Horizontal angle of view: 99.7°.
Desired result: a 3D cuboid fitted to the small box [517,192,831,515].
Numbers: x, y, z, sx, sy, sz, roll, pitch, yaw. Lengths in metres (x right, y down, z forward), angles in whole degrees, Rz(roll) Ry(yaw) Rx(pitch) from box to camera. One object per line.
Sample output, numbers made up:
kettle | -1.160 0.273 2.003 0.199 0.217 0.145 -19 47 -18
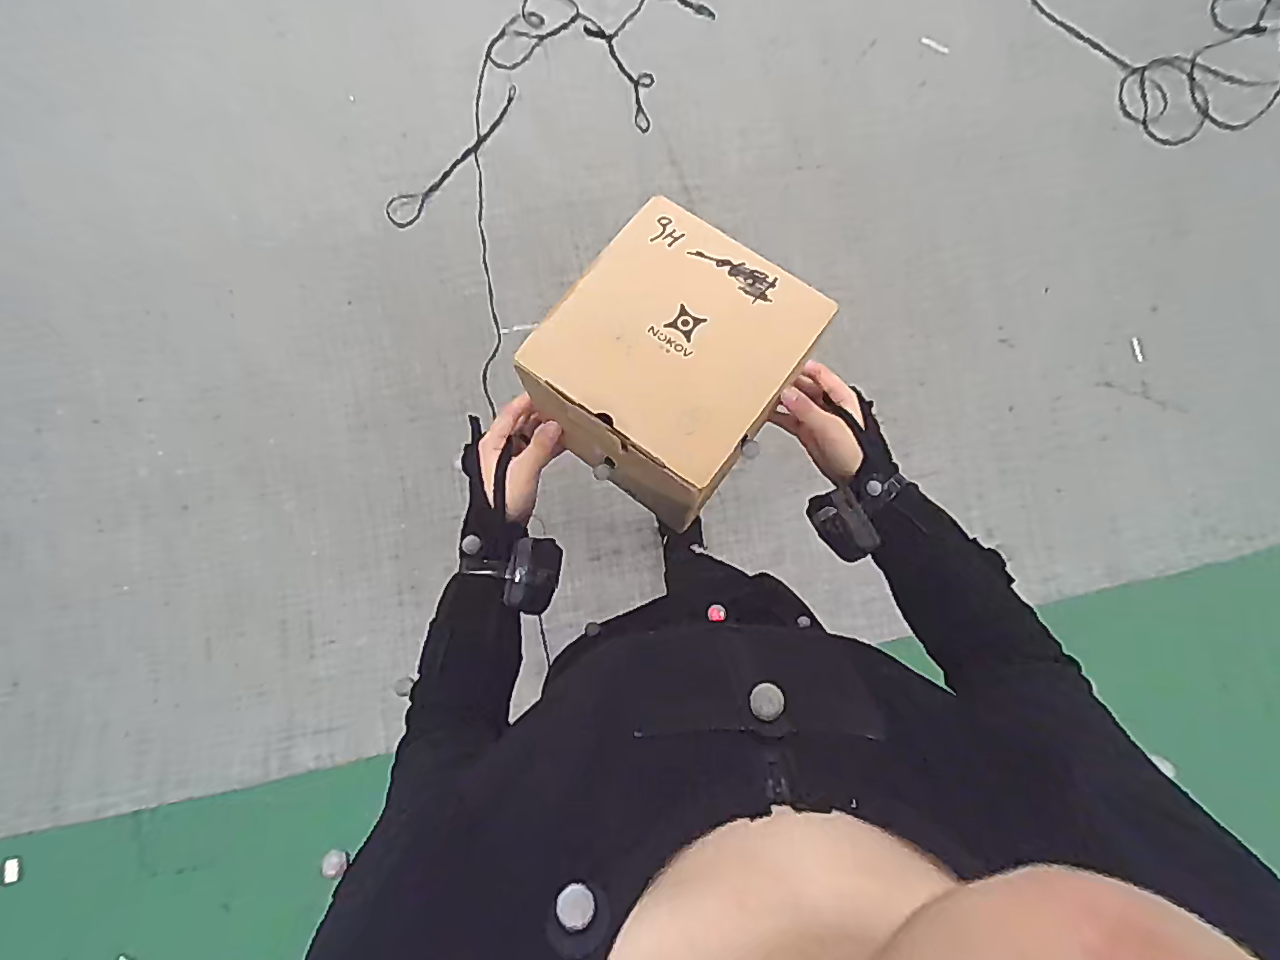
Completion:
small box | 0.028 -0.091 0.467 0.168 0.176 0.179 36 79 9
